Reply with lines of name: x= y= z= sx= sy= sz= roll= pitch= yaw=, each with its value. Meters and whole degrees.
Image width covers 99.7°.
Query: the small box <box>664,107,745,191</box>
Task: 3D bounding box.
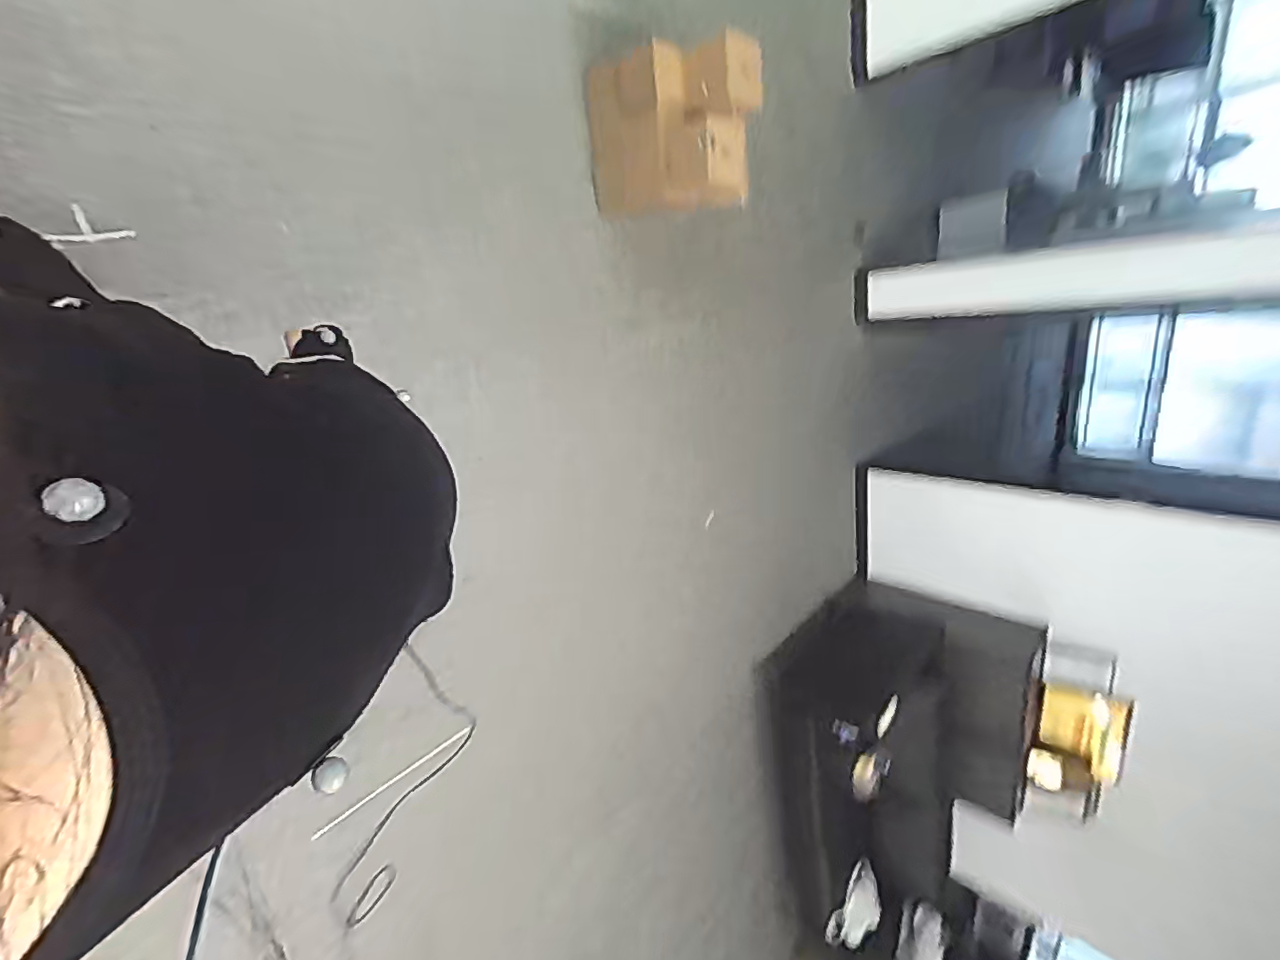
small box: x=0.189 y=-0.957 z=1.580 sx=0.179 sy=0.176 sz=0.168 roll=-20 pitch=113 yaw=-42

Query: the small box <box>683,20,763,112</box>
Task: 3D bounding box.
small box: x=0.239 y=-1.197 z=1.587 sx=0.179 sy=0.176 sz=0.168 roll=-24 pitch=114 yaw=-41
